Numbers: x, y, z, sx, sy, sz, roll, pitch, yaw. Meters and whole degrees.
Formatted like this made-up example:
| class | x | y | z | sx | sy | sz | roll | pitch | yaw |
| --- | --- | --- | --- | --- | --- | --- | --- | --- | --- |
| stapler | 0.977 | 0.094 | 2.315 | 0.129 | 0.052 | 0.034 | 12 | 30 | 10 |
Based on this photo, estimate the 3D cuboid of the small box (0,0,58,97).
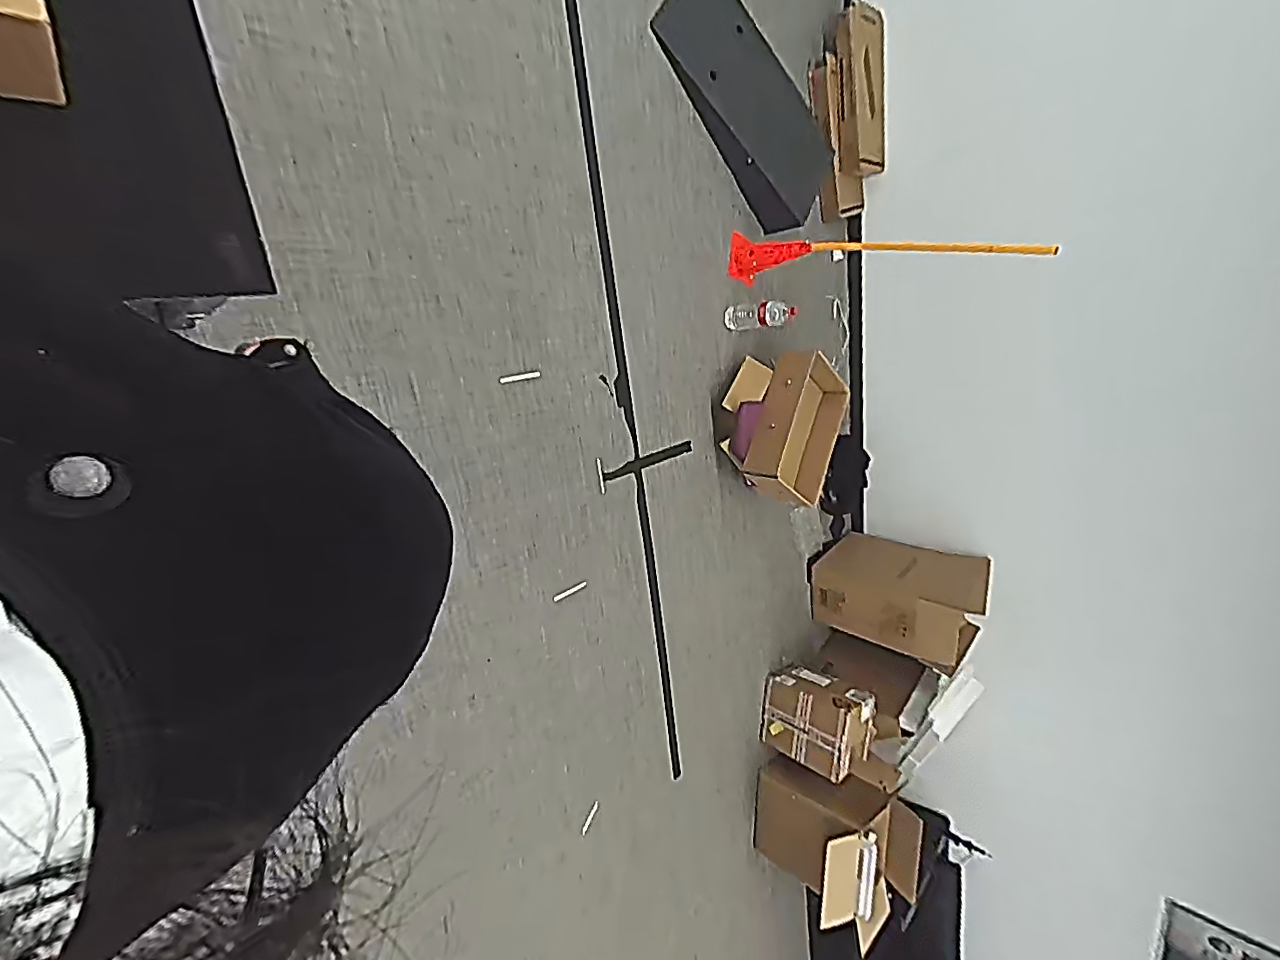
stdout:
| class | x | y | z | sx | sy | sz | roll | pitch | yaw |
| --- | --- | --- | --- | --- | --- | --- | --- | --- | --- |
| small box | -0.574 | -0.411 | 0.390 | 0.179 | 0.176 | 0.168 | -20 | 111 | -42 |
